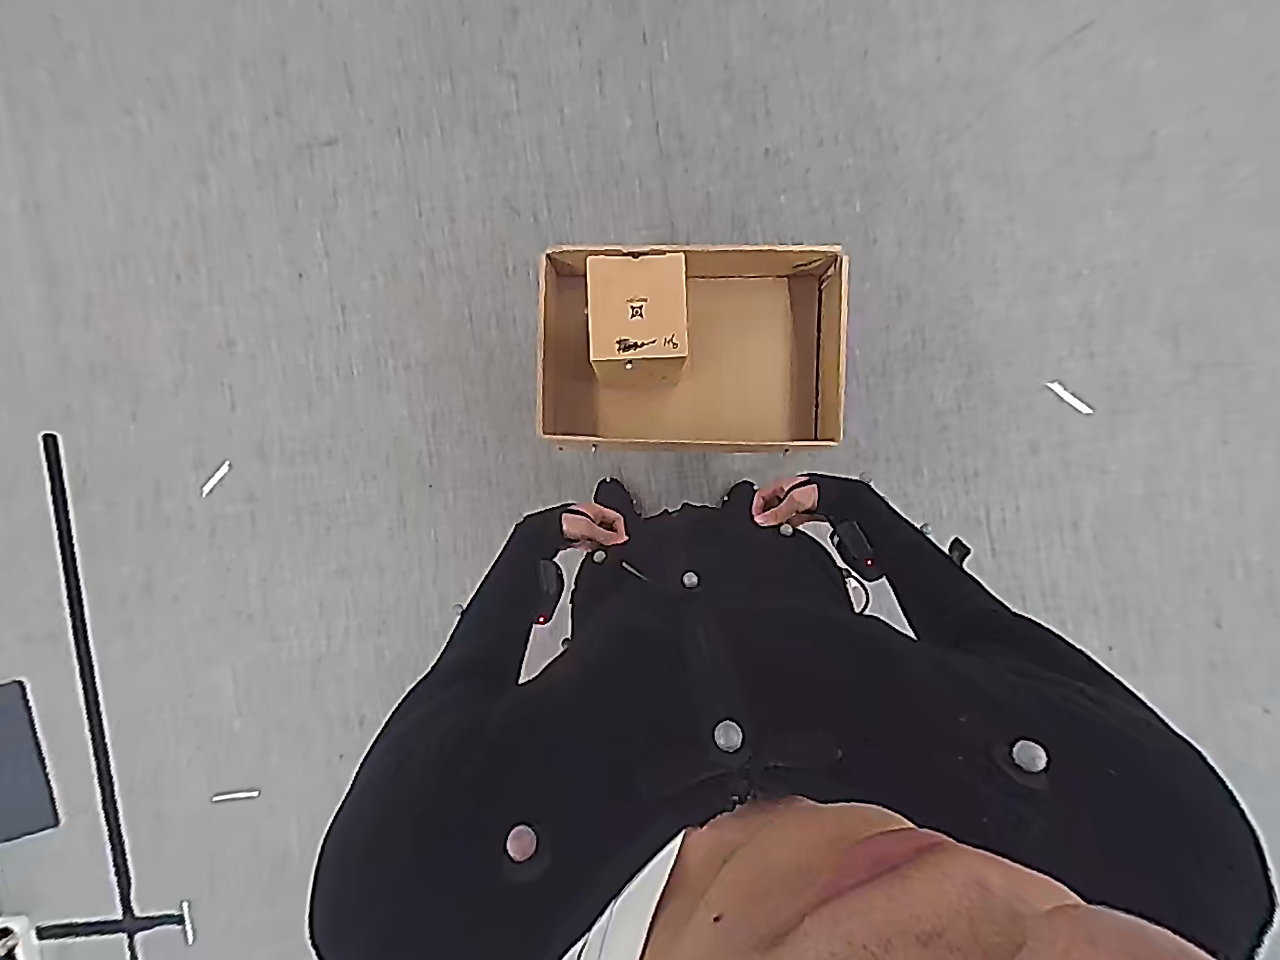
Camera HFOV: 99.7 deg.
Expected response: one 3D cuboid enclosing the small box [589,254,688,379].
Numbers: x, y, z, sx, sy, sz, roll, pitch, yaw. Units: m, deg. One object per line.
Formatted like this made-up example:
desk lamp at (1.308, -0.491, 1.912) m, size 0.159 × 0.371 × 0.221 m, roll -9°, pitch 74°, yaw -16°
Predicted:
small box at (-0.003, -0.287, 0.975) m, size 0.168 × 0.176 × 0.179 m, roll -2°, pitch 90°, yaw 1°
